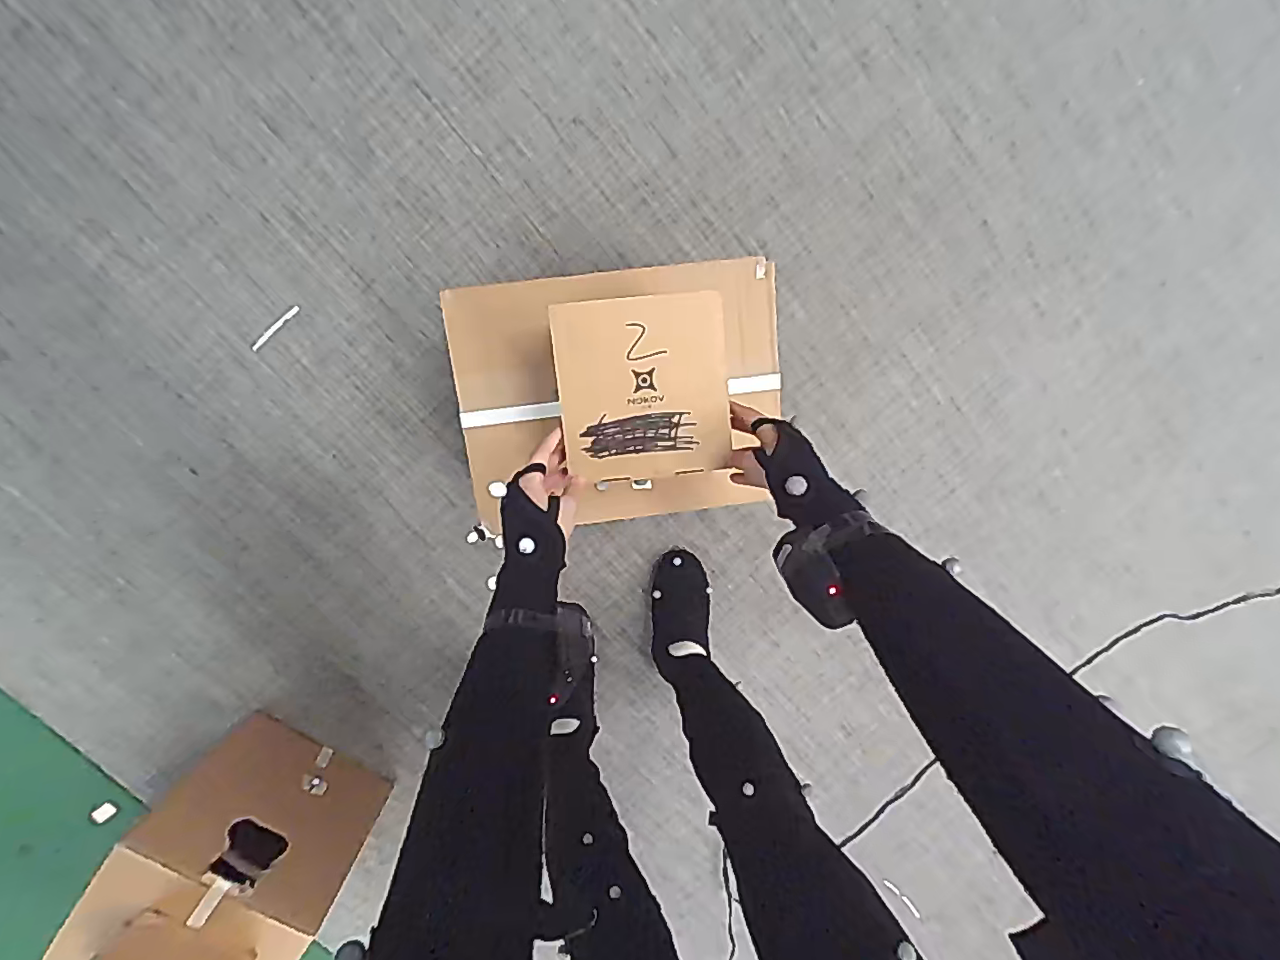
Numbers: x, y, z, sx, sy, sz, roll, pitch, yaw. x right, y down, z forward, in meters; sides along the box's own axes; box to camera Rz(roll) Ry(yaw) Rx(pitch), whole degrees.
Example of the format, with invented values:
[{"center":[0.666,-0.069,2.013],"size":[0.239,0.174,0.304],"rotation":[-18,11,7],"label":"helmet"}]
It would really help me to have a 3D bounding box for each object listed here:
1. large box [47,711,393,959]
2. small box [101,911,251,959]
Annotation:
[{"center":[-0.722,0.714,0.959],"size":[0.320,0.320,0.408],"rotation":[35,98,-7],"label":"large box"},{"center":[-0.675,0.732,0.716],"size":[0.179,0.176,0.168],"rotation":[35,96,-9],"label":"small box"}]
